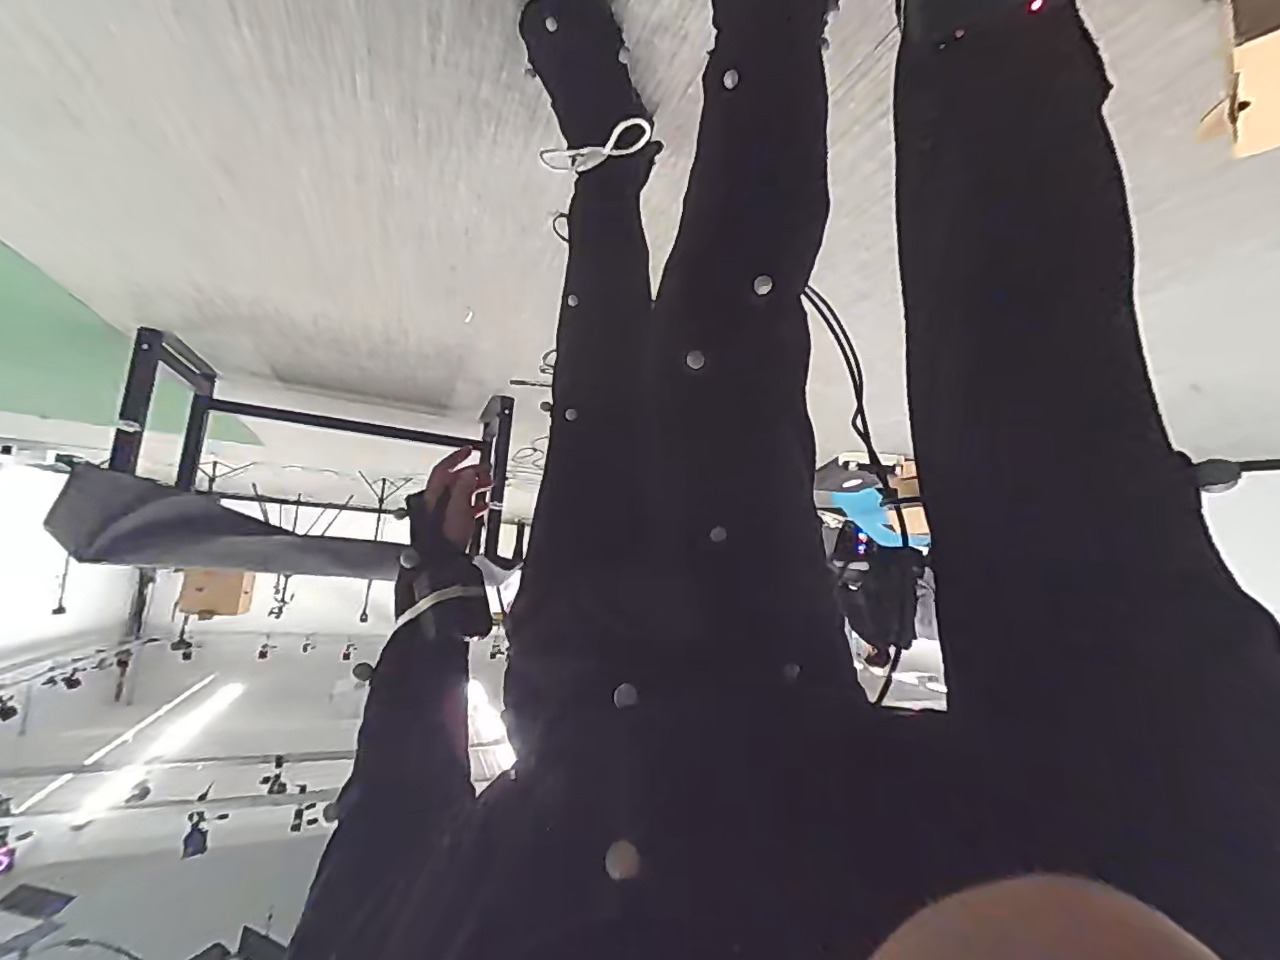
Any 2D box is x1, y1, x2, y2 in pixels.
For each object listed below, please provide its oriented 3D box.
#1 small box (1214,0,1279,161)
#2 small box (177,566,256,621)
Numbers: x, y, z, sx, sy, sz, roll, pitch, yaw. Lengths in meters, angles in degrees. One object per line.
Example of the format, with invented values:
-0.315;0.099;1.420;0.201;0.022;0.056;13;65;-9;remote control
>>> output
0.590;-0.411;0.428;0.168;0.176;0.179;12;169;-42;small box
-1.464;0.389;1.878;0.168;0.176;0.179;9;171;-21;small box
